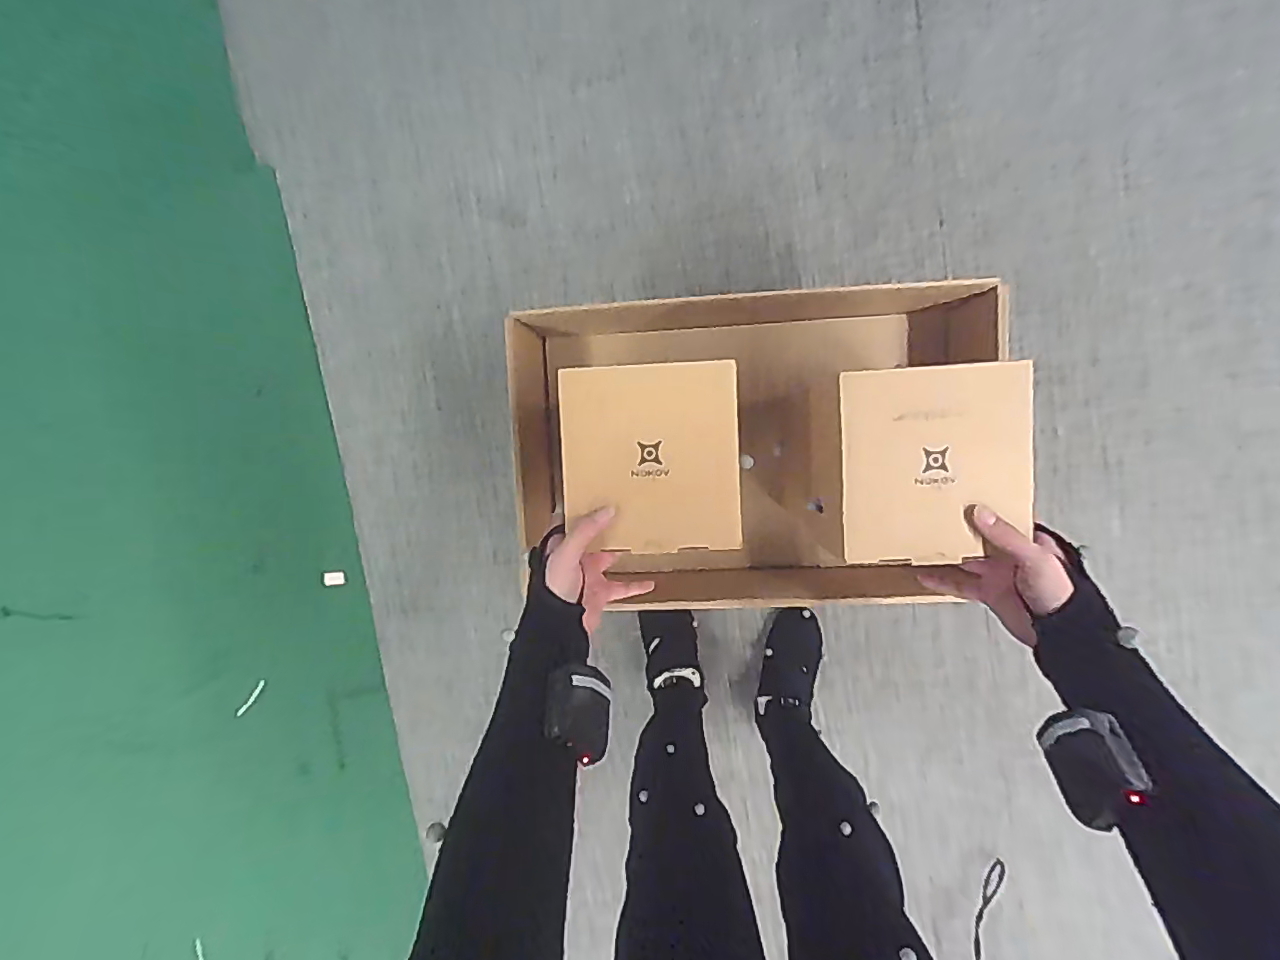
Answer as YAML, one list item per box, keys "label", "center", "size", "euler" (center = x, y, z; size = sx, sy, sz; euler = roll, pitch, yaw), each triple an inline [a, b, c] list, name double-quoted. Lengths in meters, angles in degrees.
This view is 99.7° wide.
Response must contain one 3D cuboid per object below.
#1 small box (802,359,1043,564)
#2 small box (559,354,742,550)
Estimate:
- label: "small box"
  center: [0.265, -0.020, 0.546]
  size: [0.168, 0.176, 0.179]
  euler: [-2, 93, 4]
- label: "small box"
  center: [0.014, -0.027, 0.569]
  size: [0.168, 0.176, 0.179]
  euler: [-2, 94, 4]
